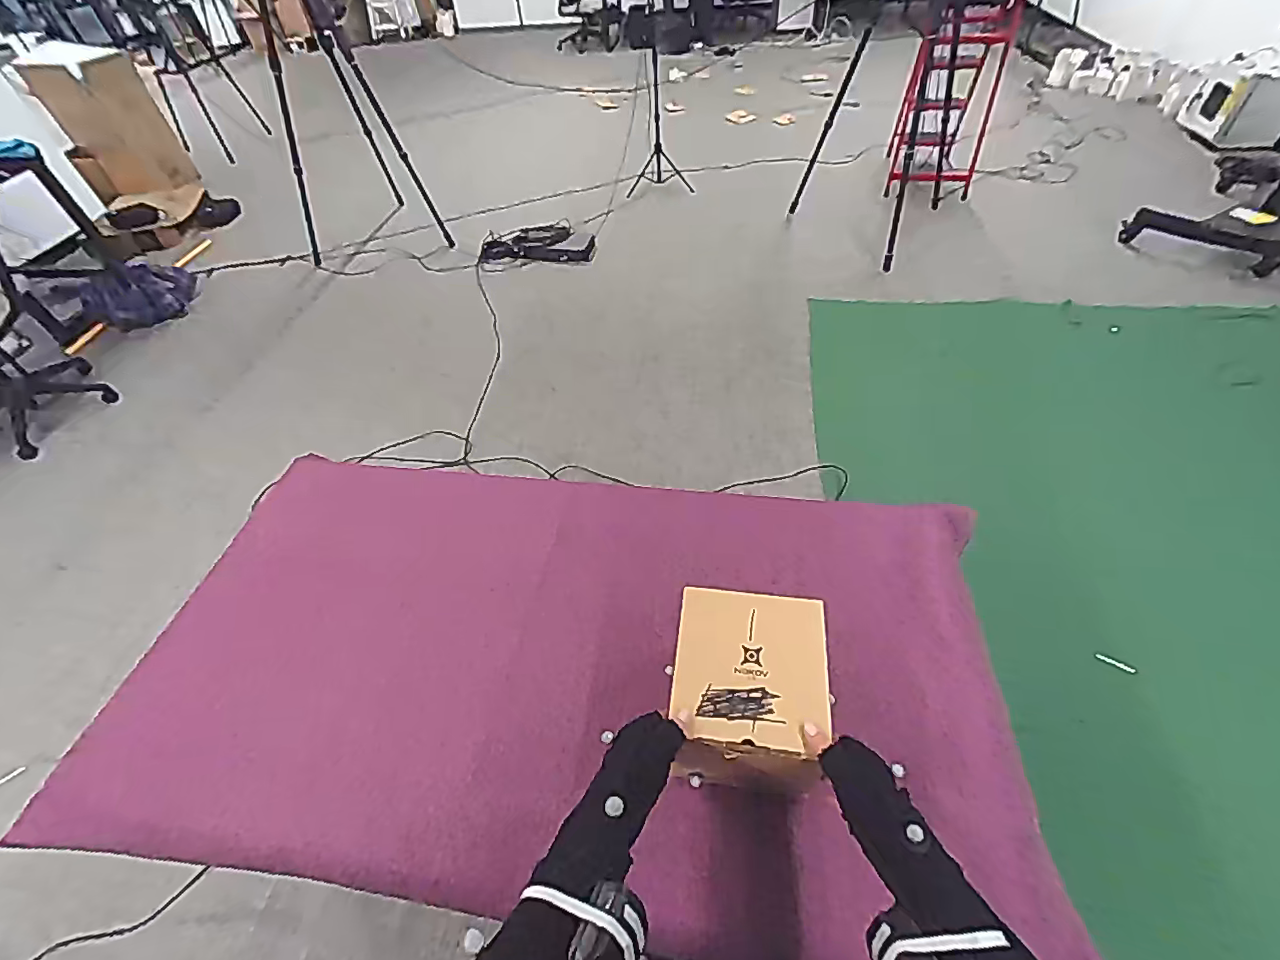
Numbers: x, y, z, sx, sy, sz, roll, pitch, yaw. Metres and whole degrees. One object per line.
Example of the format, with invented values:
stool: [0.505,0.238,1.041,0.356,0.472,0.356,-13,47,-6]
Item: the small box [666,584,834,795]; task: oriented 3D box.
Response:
small box: [0.128,0.252,0.644,0.168,0.176,0.179,8,51,9]
